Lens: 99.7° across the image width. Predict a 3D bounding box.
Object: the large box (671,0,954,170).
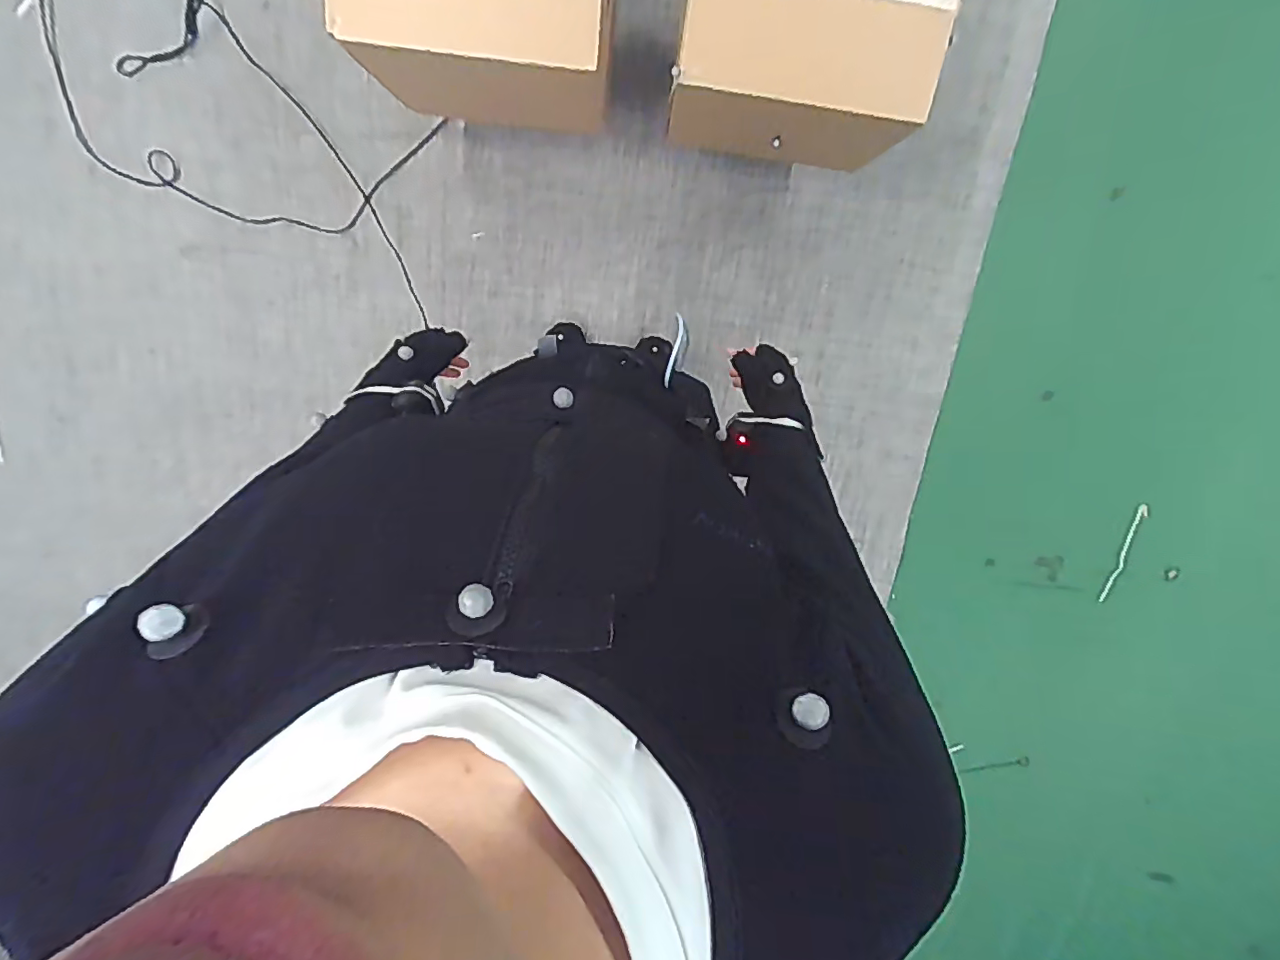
[{"bbox_3d":[0.282,-0.782,0.966,0.408,0.320,0.320,8,106,-2],"label":"large box"}]
